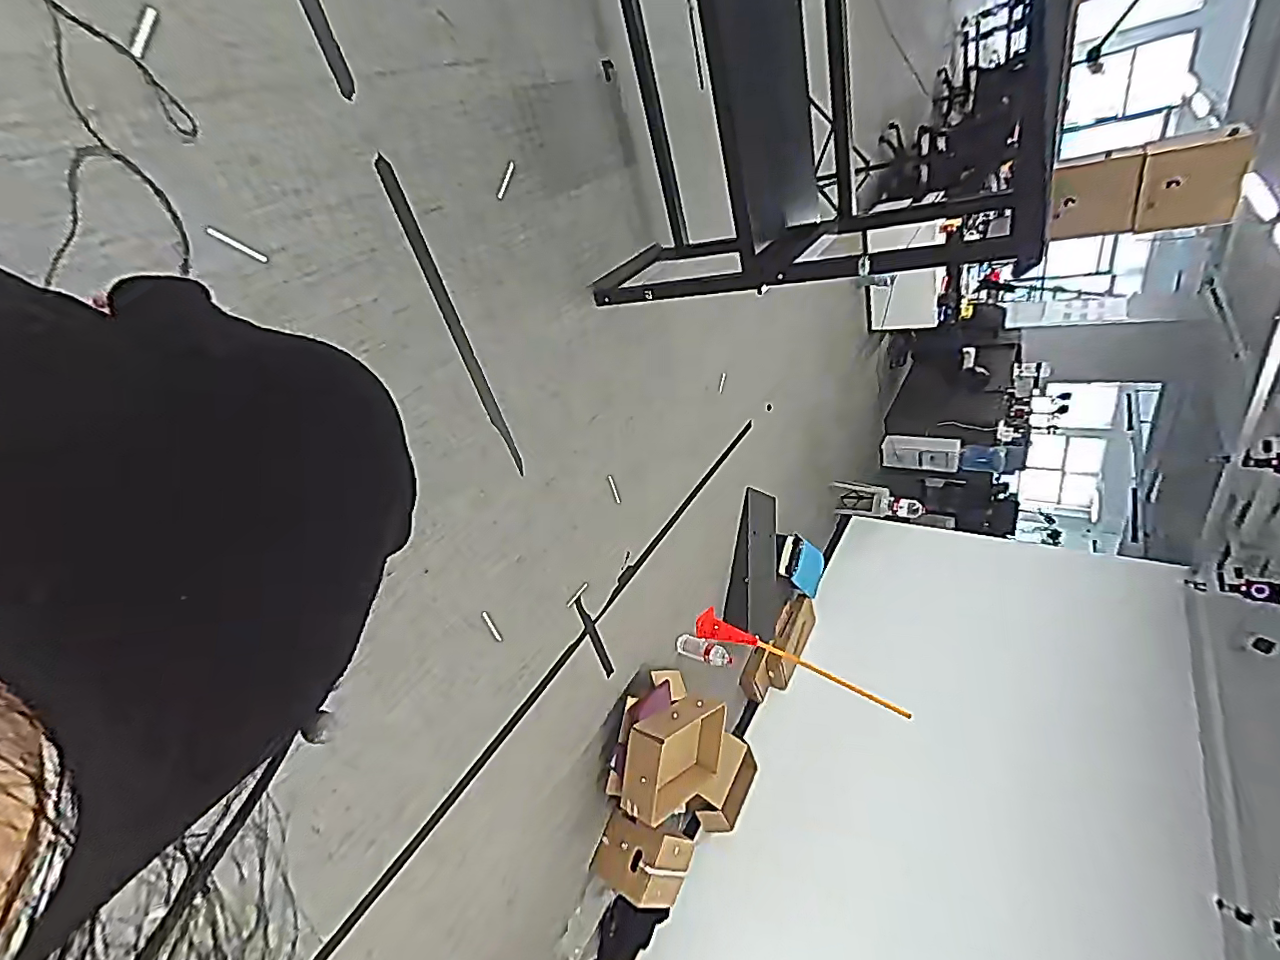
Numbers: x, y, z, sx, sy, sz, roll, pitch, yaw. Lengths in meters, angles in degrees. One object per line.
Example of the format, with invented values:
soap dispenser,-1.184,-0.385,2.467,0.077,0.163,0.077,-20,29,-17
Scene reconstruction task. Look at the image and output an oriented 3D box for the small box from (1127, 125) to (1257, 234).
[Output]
small box,1.213,-0.666,1.203,0.179,0.176,0.168,-46,130,-38
